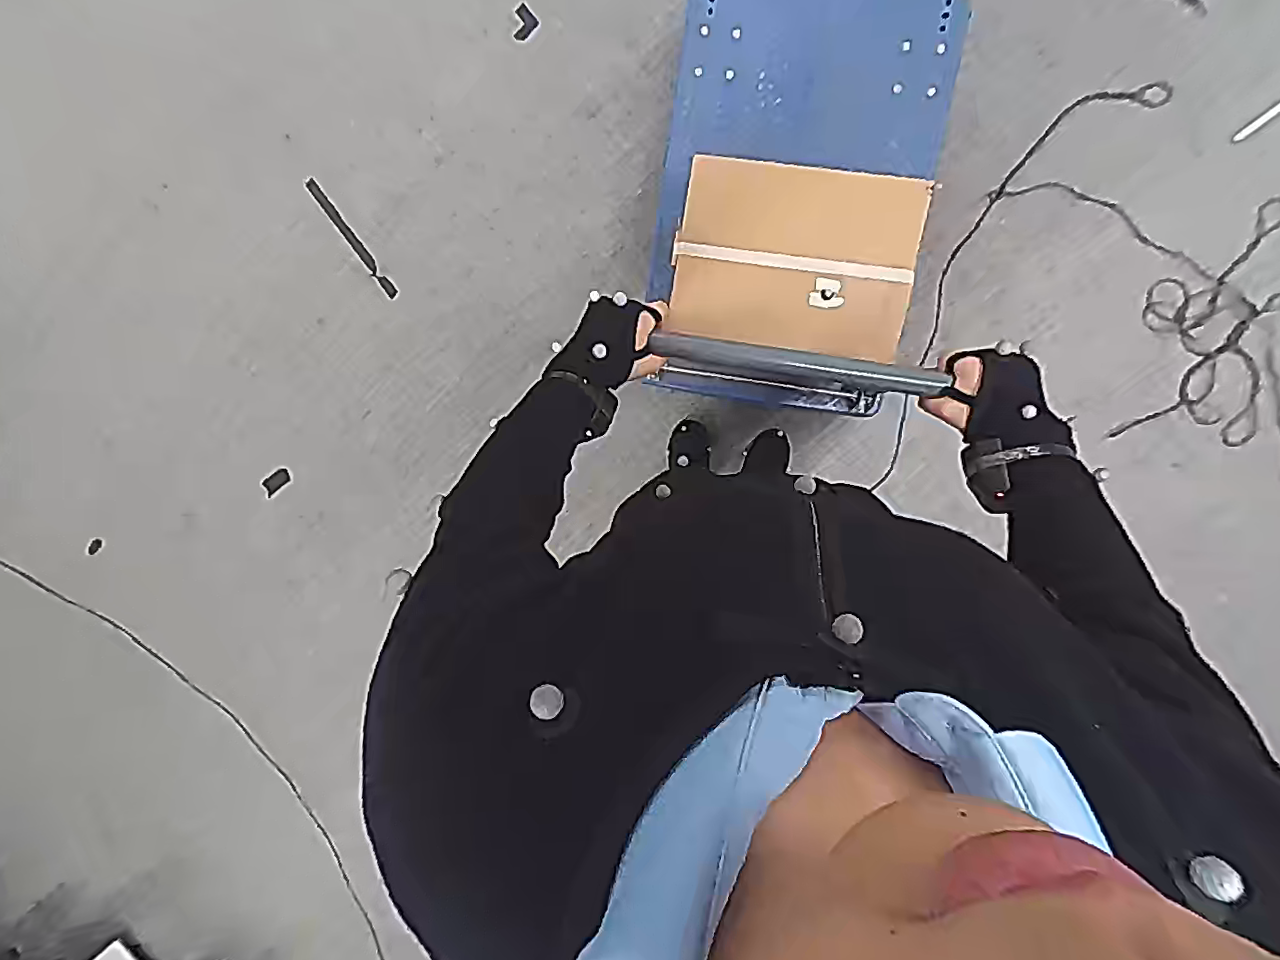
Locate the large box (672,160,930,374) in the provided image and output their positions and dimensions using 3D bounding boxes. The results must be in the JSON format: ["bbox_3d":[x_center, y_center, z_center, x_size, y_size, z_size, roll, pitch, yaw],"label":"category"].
[{"bbox_3d":[0.286,-0.401,1.091,0.408,0.320,0.320,10,100,5],"label":"large box"}]
